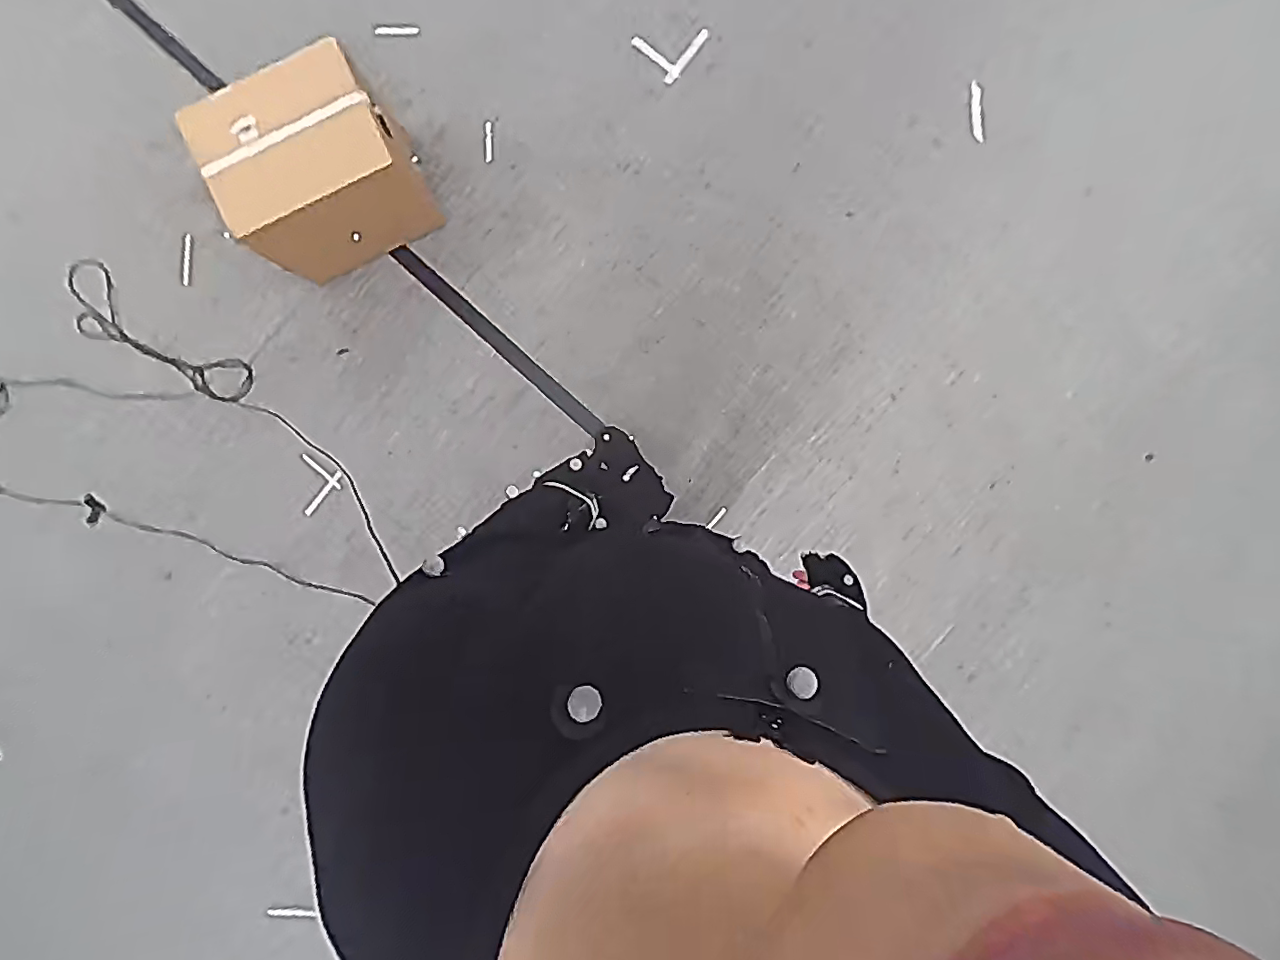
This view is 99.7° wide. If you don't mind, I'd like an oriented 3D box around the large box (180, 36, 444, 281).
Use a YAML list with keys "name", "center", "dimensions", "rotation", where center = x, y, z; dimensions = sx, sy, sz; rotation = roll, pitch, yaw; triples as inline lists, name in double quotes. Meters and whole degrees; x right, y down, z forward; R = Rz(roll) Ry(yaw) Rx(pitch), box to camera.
- name: "large box"
  center: [-0.781, -0.765, 1.348]
  dimensions: [0.408, 0.320, 0.320]
  rotation: [-25, 90, 2]
